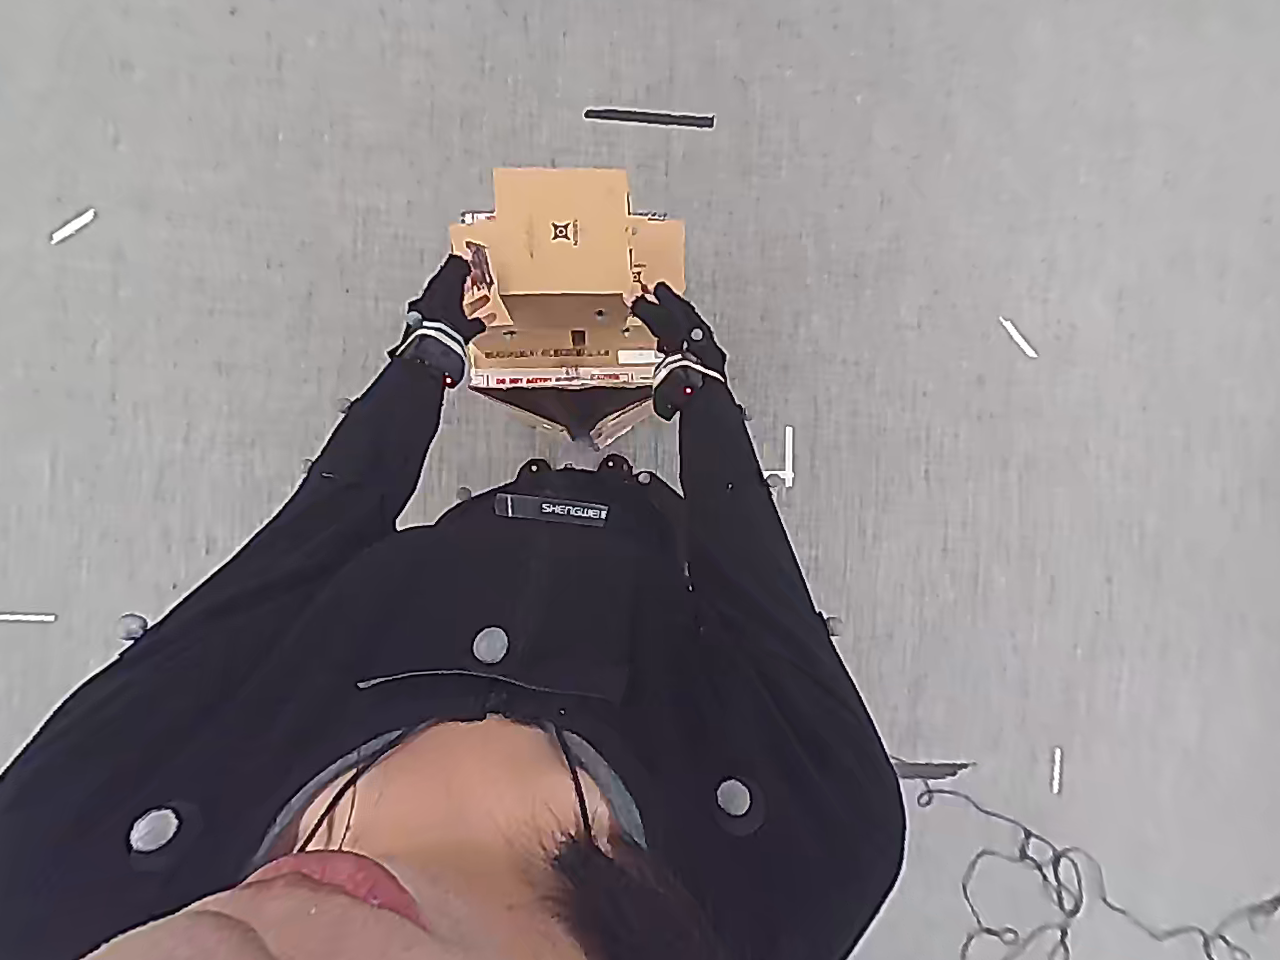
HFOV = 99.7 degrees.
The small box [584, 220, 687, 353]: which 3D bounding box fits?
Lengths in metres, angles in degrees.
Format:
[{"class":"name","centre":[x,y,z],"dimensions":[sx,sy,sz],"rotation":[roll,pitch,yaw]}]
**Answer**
[{"class":"small box","centre":[-0.016,-0.332,0.947],"dimensions":[0.168,0.176,0.179],"rotation":[-1,89,-7]}]

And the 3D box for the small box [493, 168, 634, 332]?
[{"class":"small box","centre":[-0.106,-0.317,0.774],"dimensions":[0.179,0.176,0.168],"rotation":[-3,89,-4]}]

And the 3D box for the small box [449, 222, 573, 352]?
[{"class":"small box","centre":[-0.212,-0.323,0.929],"dimensions":[0.179,0.176,0.168],"rotation":[-4,90,-4]}]
